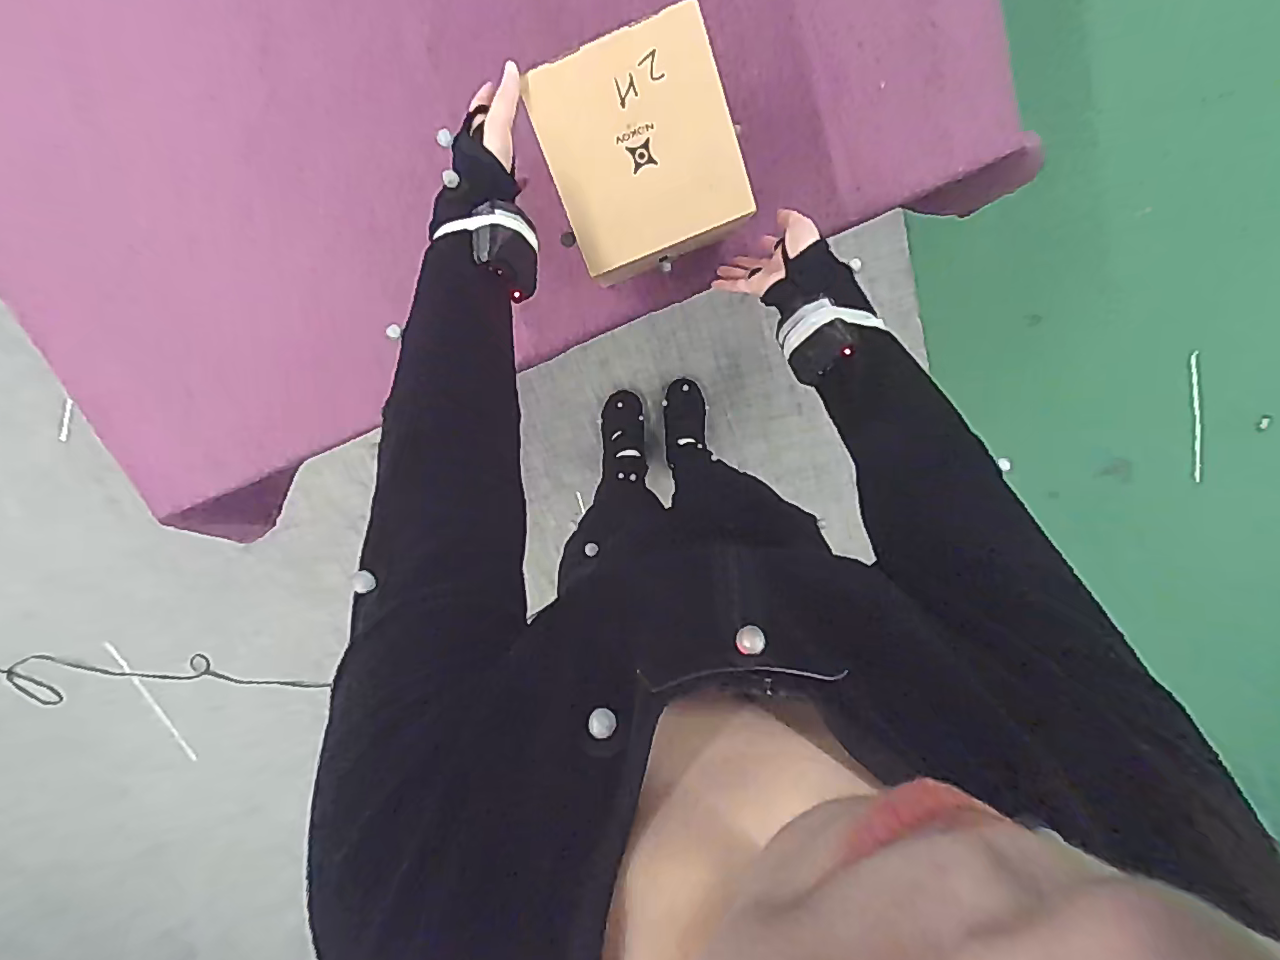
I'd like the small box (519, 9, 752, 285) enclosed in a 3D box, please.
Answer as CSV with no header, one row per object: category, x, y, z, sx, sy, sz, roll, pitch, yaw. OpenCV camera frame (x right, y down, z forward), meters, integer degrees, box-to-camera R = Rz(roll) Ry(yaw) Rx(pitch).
small box,0.000,-0.313,0.556,0.168,0.176,0.179,-20,105,5
